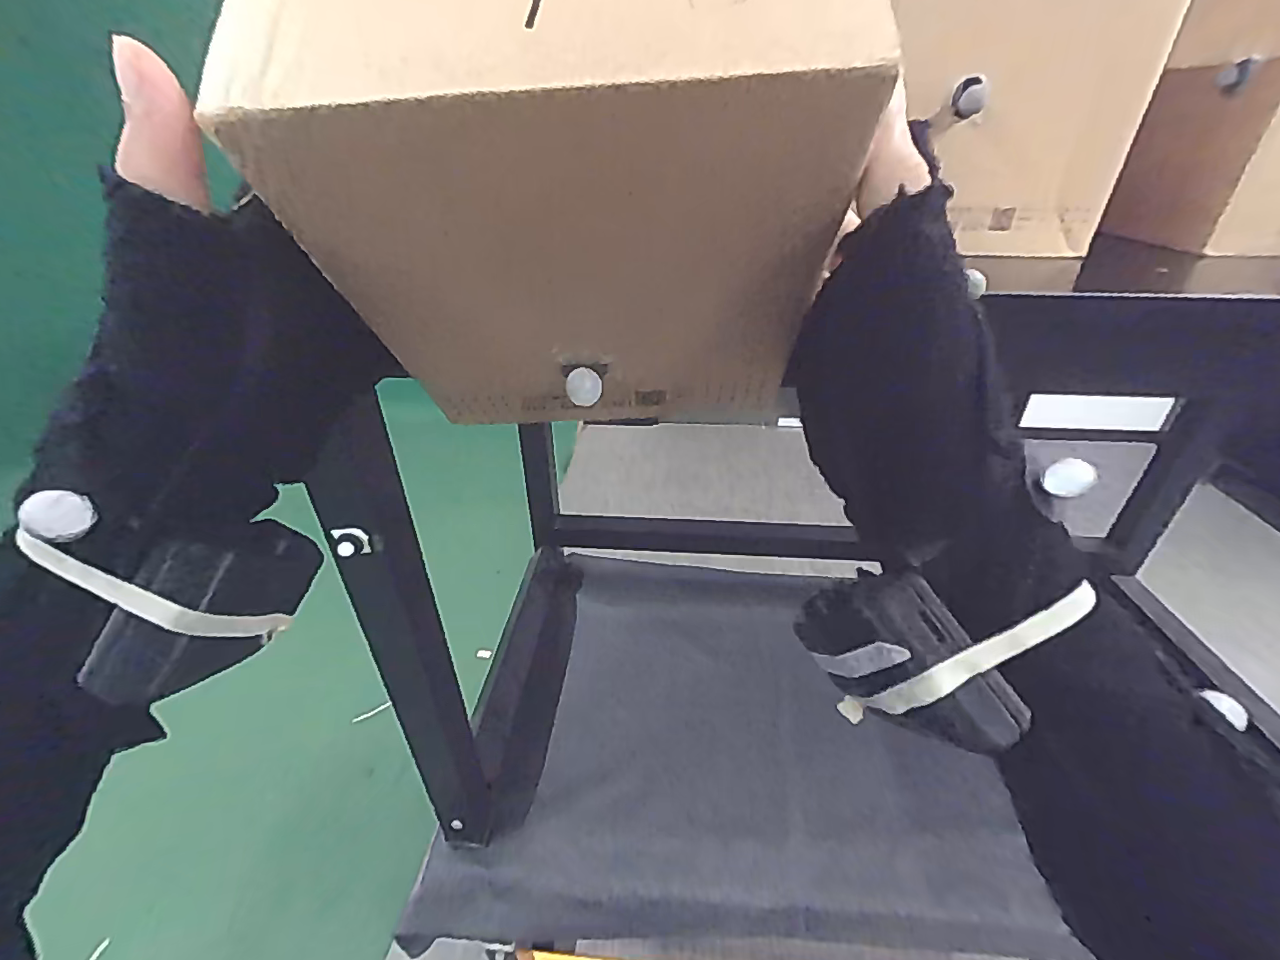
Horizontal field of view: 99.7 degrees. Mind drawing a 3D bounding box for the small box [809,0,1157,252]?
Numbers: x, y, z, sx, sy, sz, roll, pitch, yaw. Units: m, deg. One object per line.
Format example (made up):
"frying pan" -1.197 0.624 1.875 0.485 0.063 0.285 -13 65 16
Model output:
"small box" 0.225 -0.272 0.403 0.168 0.176 0.179 4 32 7
